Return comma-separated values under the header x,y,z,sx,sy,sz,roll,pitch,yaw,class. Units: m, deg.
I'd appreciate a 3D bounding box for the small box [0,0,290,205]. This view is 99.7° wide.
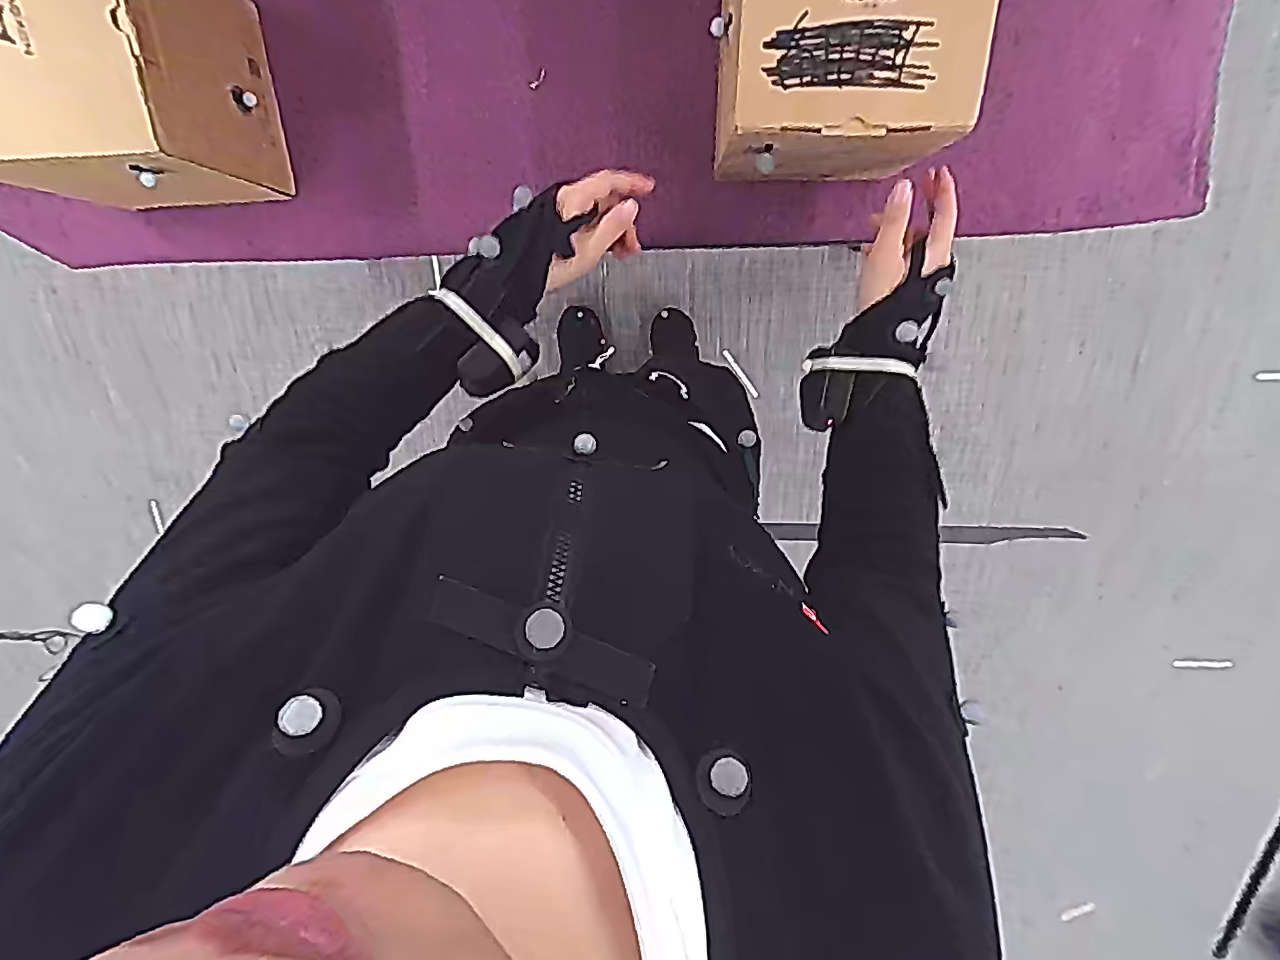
x,y,z,sx,sy,sz,roll,pitch,yaw,class
-0.445,-0.339,0.455,0.179,0.176,0.168,-4,107,0,small box
